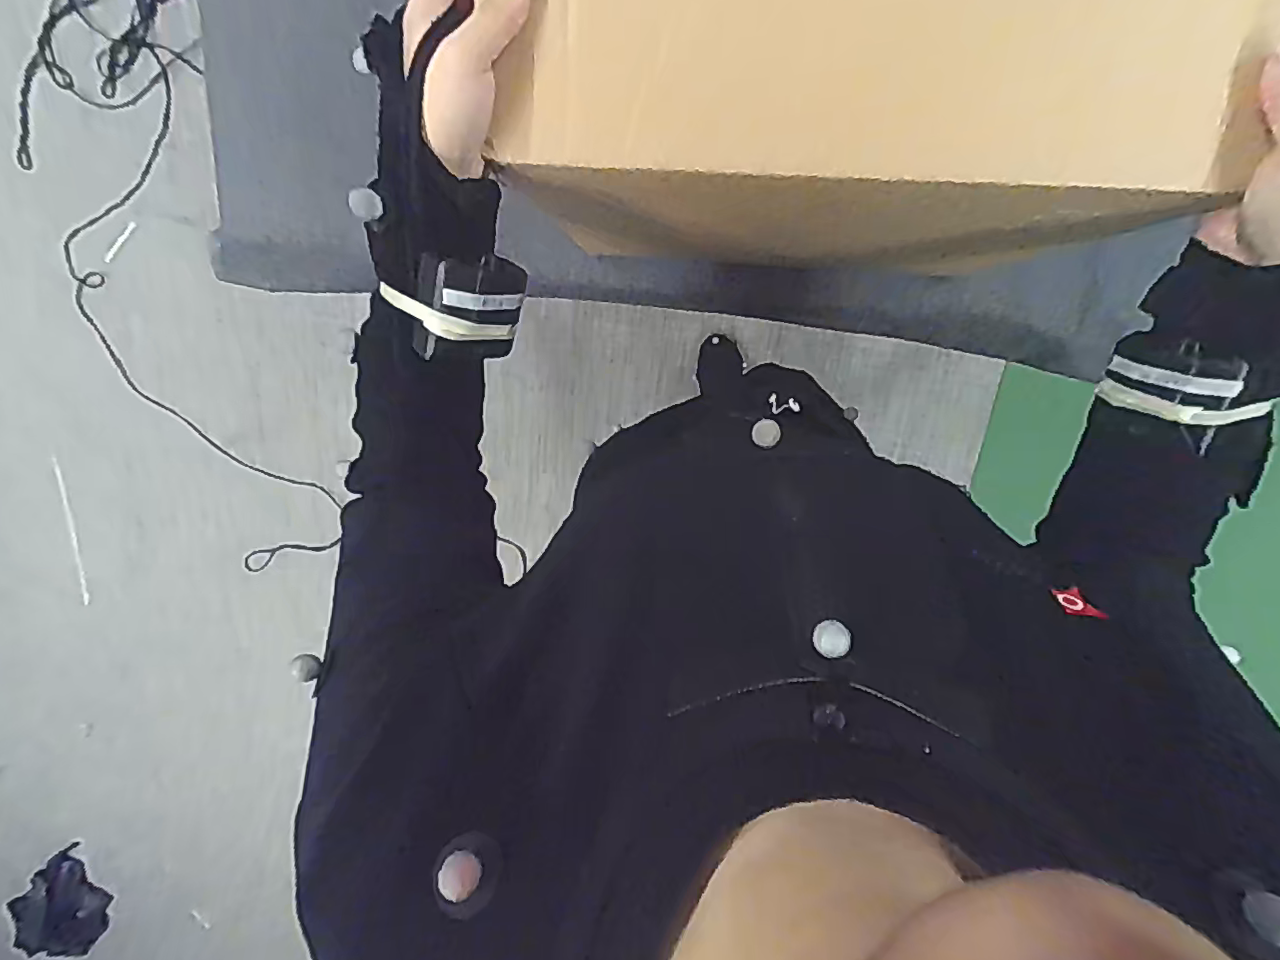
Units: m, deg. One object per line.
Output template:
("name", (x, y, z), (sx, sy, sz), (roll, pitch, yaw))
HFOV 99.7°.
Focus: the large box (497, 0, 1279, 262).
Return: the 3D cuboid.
("large box", (0.134, -0.351, 0.397), (0.408, 0.320, 0.320), (4, 105, 3))
